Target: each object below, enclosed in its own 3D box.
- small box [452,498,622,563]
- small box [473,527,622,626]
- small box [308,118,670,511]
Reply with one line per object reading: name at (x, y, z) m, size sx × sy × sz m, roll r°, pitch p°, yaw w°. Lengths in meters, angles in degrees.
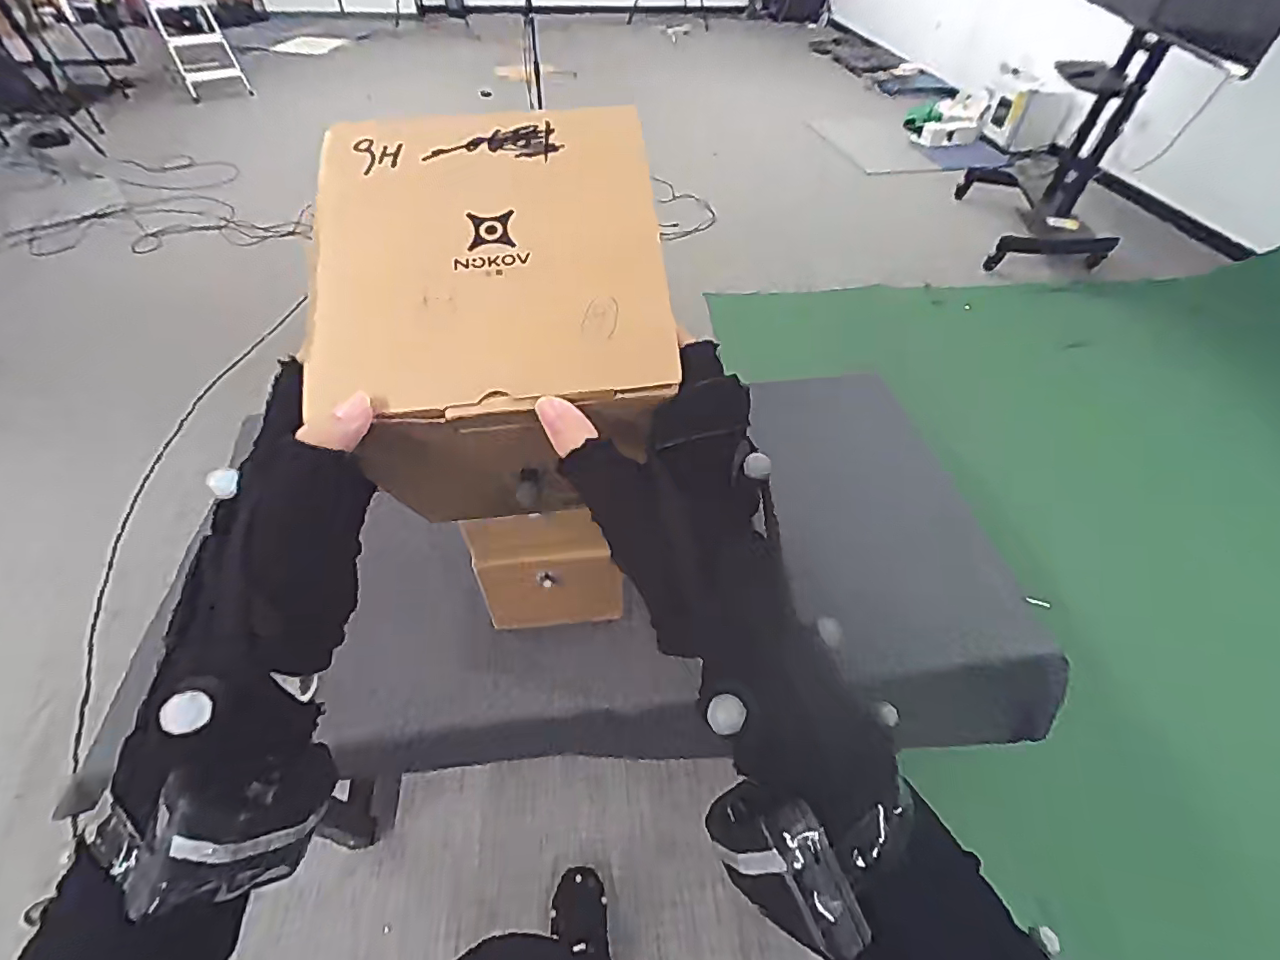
small box at (-0.113, -0.024, 0.614) m, size 0.179 × 0.176 × 0.168 m, roll -6°, pitch 50°, yaw -6°
small box at (-0.118, 0.086, 0.737) m, size 0.179 × 0.176 × 0.168 m, roll -4°, pitch 50°, yaw -7°
small box at (-0.077, -0.083, 0.341) m, size 0.168 × 0.176 × 0.179 m, roll -6°, pitch 73°, yaw -4°
